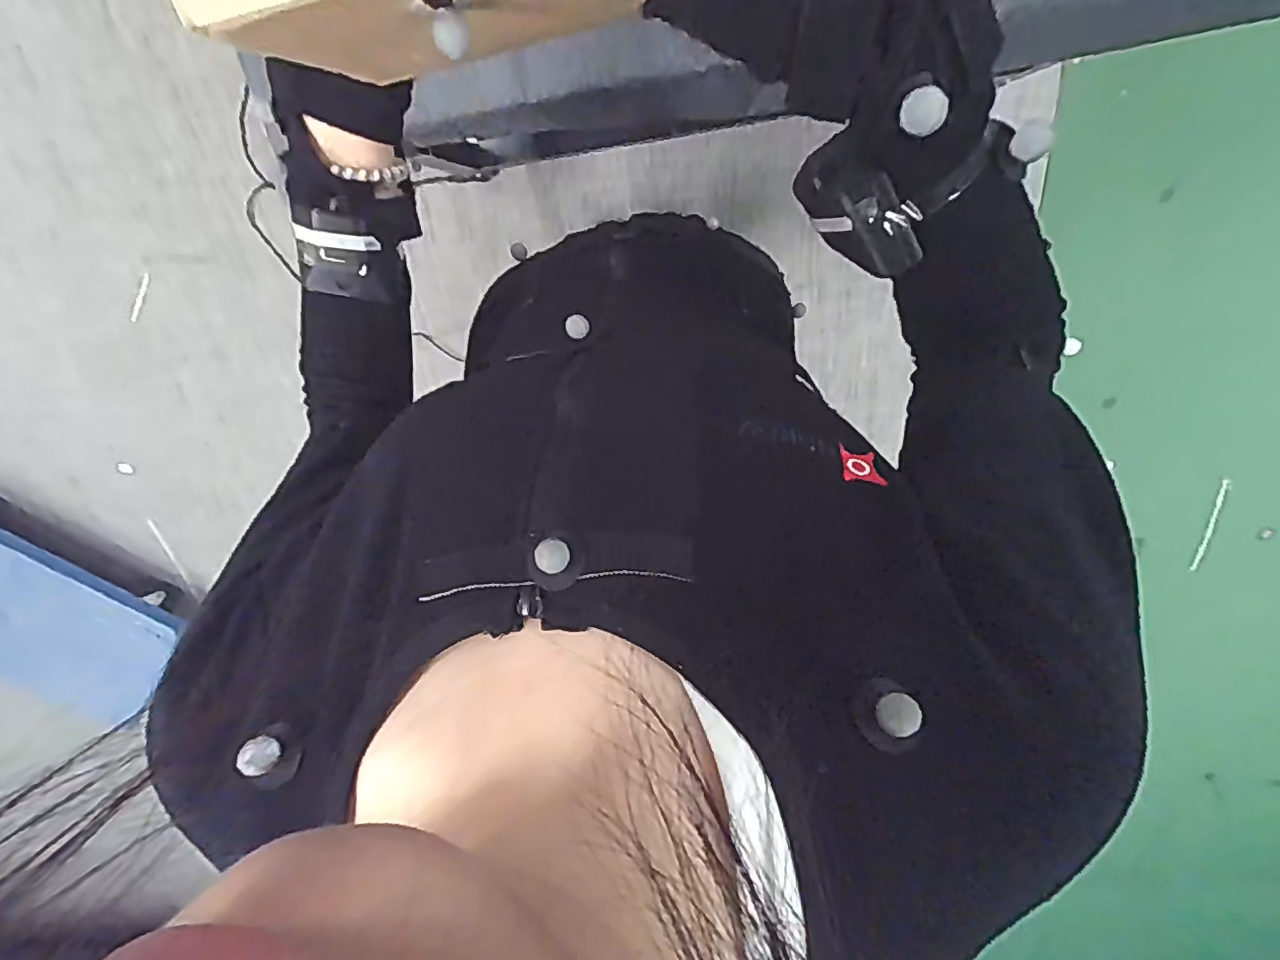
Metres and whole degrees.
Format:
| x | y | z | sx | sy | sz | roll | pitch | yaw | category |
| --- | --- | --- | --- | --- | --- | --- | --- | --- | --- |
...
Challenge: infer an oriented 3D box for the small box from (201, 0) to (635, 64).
| x | y | z | sx | sy | sz | roll | pitch | yaw | category |
| --- | --- | --- | --- | --- | --- | --- | --- | --- | --- |
| -0.079 | -0.280 | 0.200 | 0.179 | 0.176 | 0.168 | -11 | 122 | 5 | small box |
